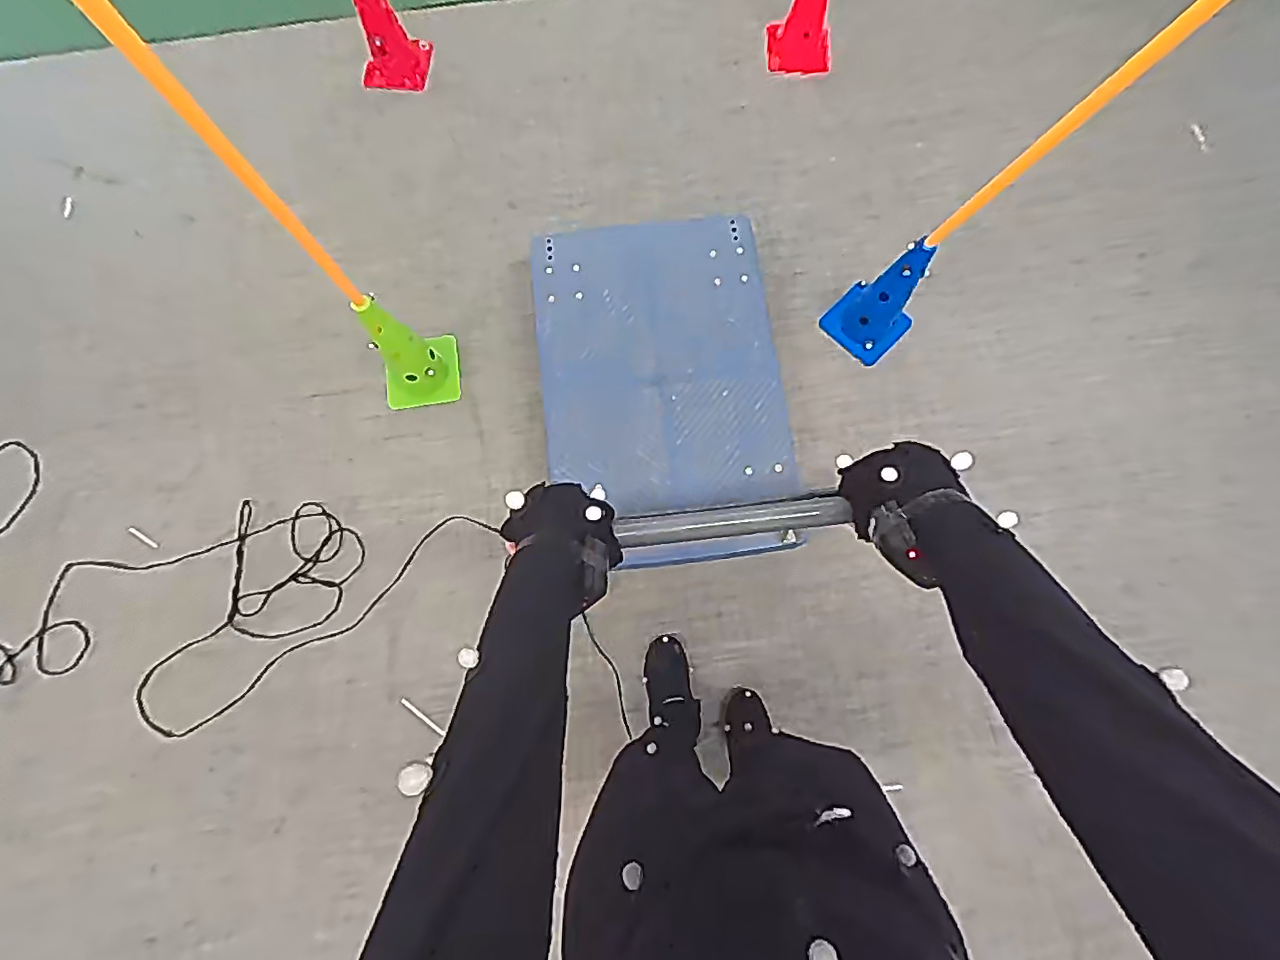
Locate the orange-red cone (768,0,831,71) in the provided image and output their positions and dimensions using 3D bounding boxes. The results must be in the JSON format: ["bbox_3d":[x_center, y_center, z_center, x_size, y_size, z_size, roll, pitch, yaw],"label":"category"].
[{"bbox_3d":[0.508,-1.429,1.568,0.198,0.360,0.199,3,78,2],"label":"orange-red cone"}]
